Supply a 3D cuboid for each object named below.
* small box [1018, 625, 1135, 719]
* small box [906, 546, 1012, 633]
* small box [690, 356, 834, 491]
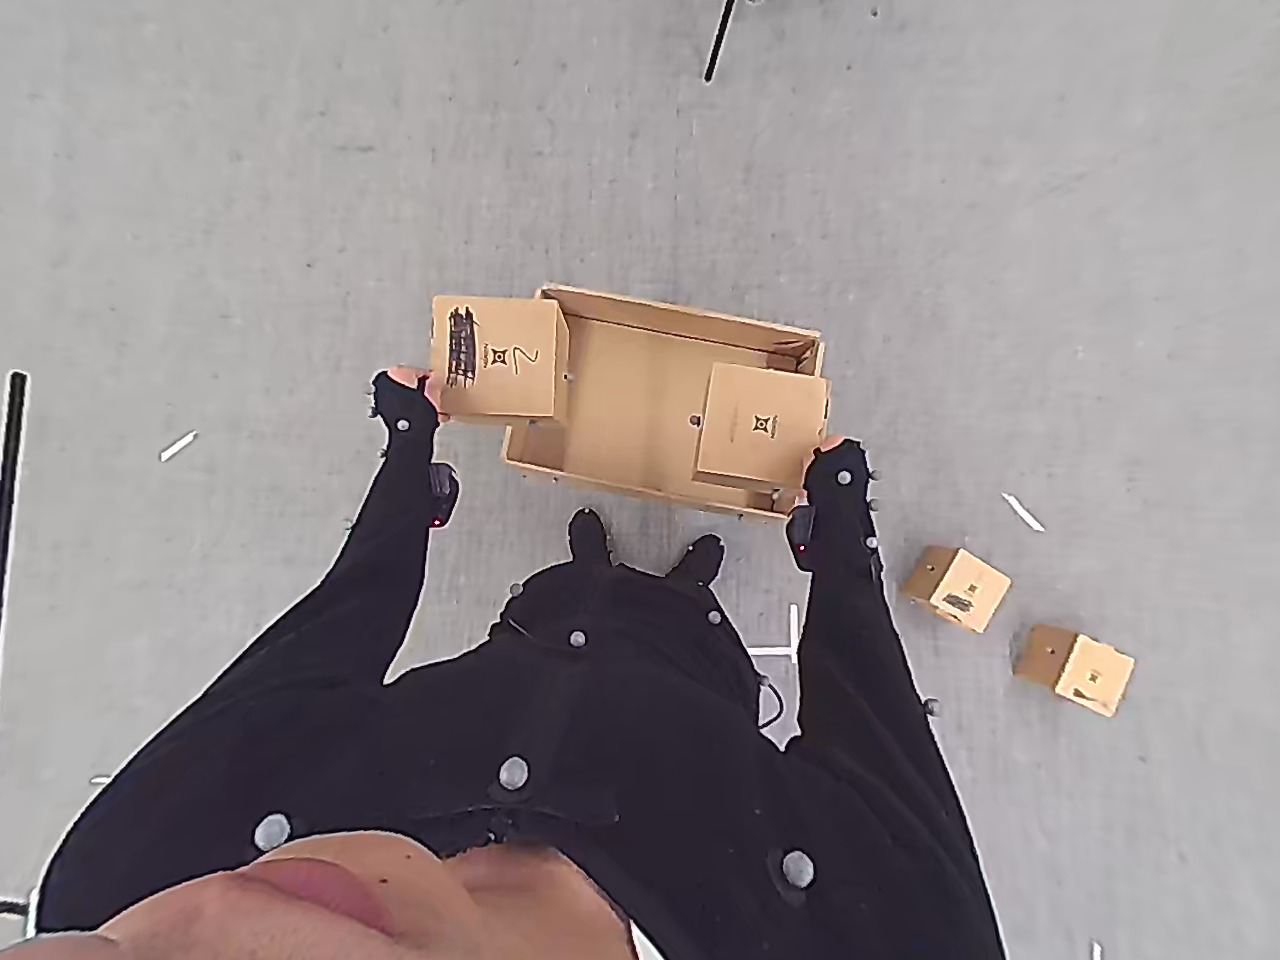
[{"bbox_3d":[1.221,0.531,1.526,0.168,0.176,0.179,26,86,2],"label":"small box"},{"bbox_3d":[0.896,0.305,1.543,0.168,0.176,0.179,33,87,2],"label":"small box"},{"bbox_3d":[0.181,-0.078,0.847,0.179,0.176,0.168,10,84,2],"label":"small box"}]
